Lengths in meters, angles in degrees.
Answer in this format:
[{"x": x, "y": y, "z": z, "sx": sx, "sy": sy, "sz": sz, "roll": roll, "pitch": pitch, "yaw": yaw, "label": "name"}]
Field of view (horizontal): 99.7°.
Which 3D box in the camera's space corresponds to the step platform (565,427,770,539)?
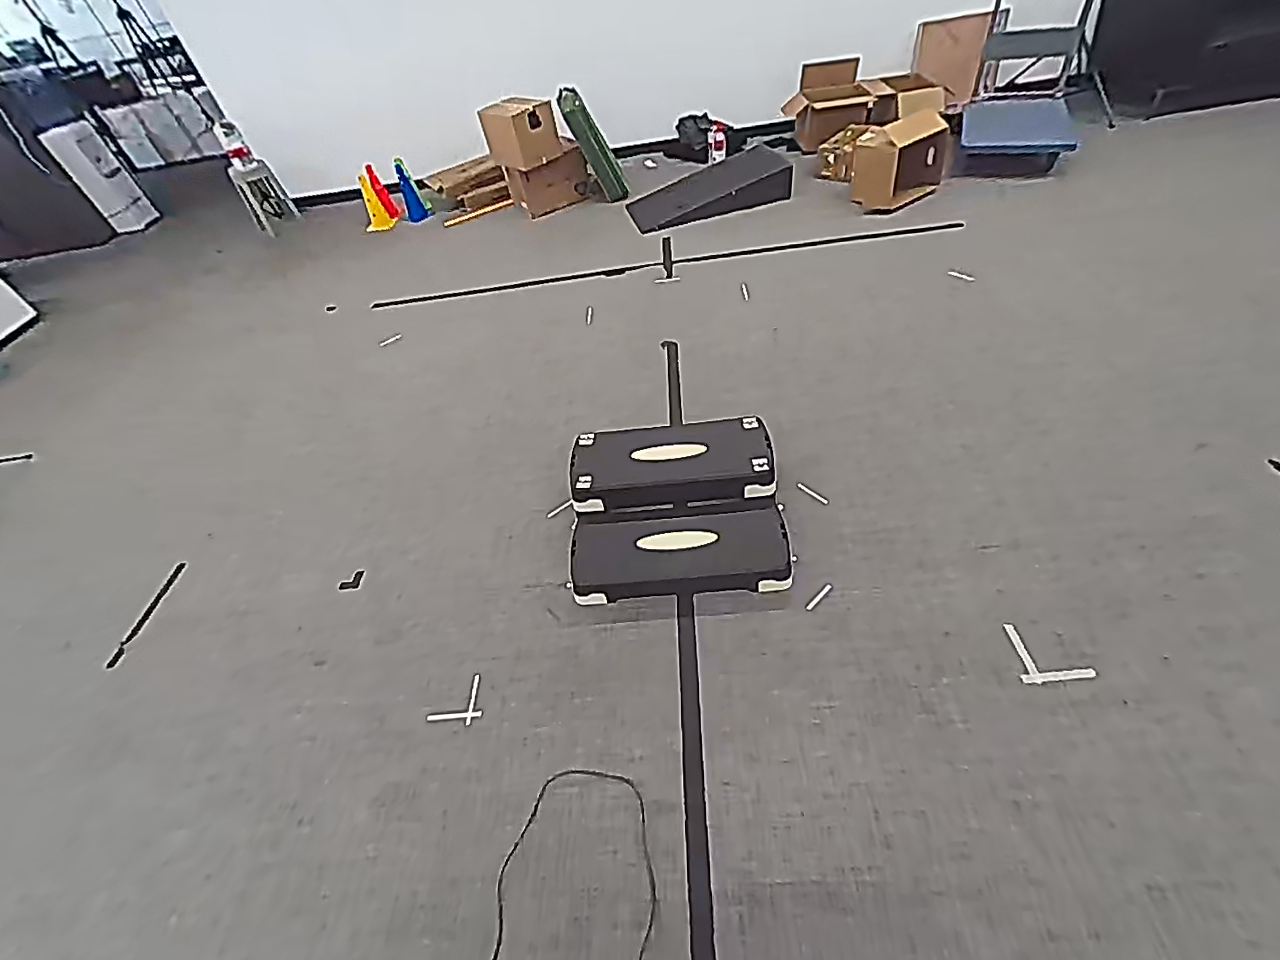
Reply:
[{"x": 0.090, "y": 0.006, "z": 1.835, "sx": 0.684, "sy": 0.204, "sz": 0.286, "roll": -6, "pitch": 47, "yaw": 4, "label": "step platform"}]
